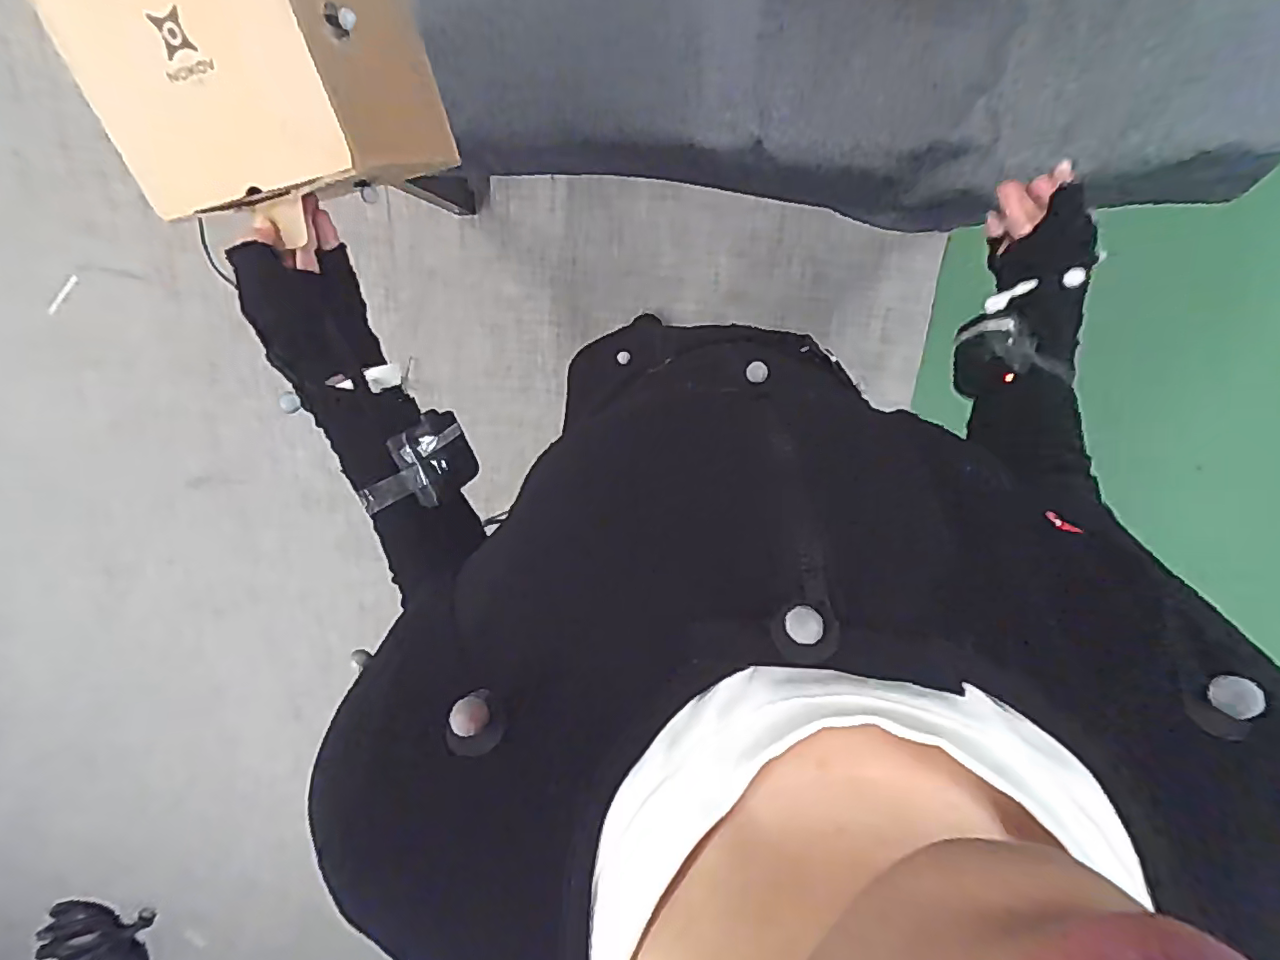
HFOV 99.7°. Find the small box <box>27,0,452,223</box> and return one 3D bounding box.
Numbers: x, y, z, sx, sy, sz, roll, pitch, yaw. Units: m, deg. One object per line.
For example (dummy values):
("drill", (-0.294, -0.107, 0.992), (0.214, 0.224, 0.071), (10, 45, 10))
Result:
("small box", (-0.264, -0.304, 0.388), (0.168, 0.176, 0.179), (-7, 119, 12))
